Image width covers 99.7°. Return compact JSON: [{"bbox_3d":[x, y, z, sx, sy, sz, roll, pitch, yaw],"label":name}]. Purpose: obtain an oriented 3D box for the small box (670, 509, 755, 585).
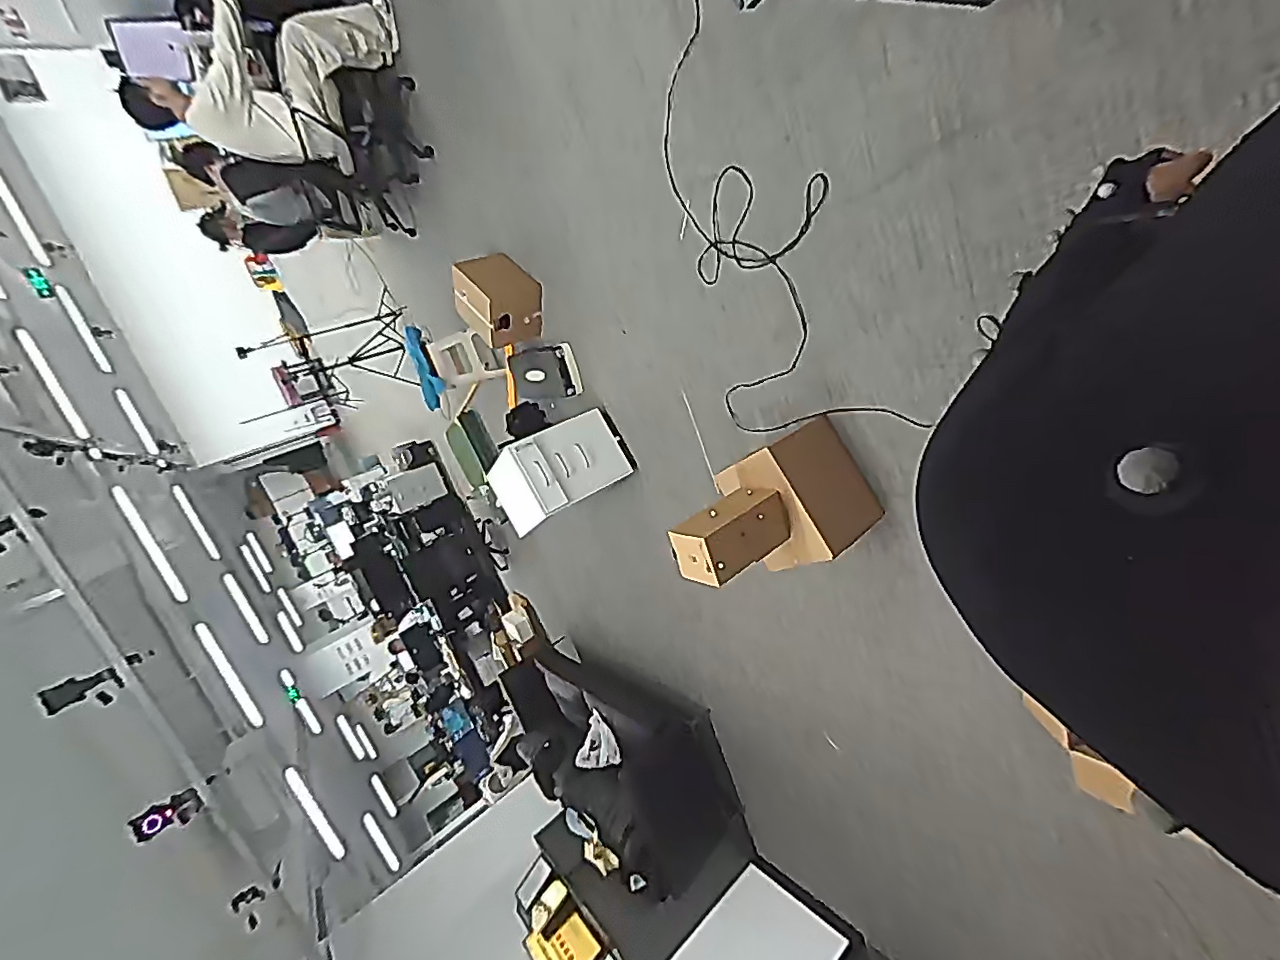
[{"bbox_3d":[0.226,0.200,1.681,0.179,0.176,0.168,5,118,56],"label":"small box"}]
